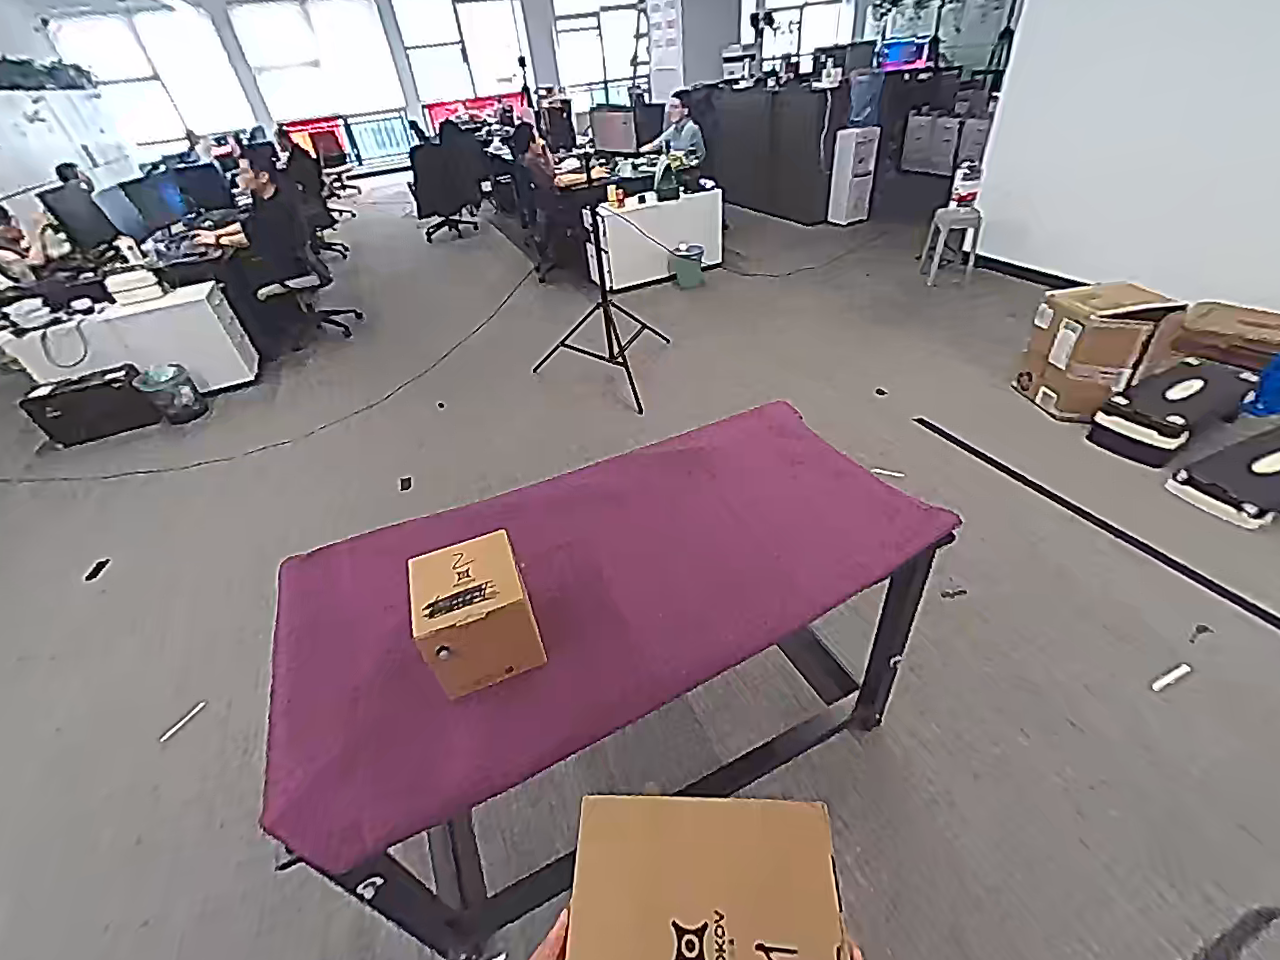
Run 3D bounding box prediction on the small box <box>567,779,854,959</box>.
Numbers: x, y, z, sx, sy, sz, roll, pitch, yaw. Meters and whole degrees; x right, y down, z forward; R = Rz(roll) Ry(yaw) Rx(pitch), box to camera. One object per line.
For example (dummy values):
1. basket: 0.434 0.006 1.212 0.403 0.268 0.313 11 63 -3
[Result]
1. small box: 0.053 0.333 0.394 0.179 0.176 0.168 -2 48 8
